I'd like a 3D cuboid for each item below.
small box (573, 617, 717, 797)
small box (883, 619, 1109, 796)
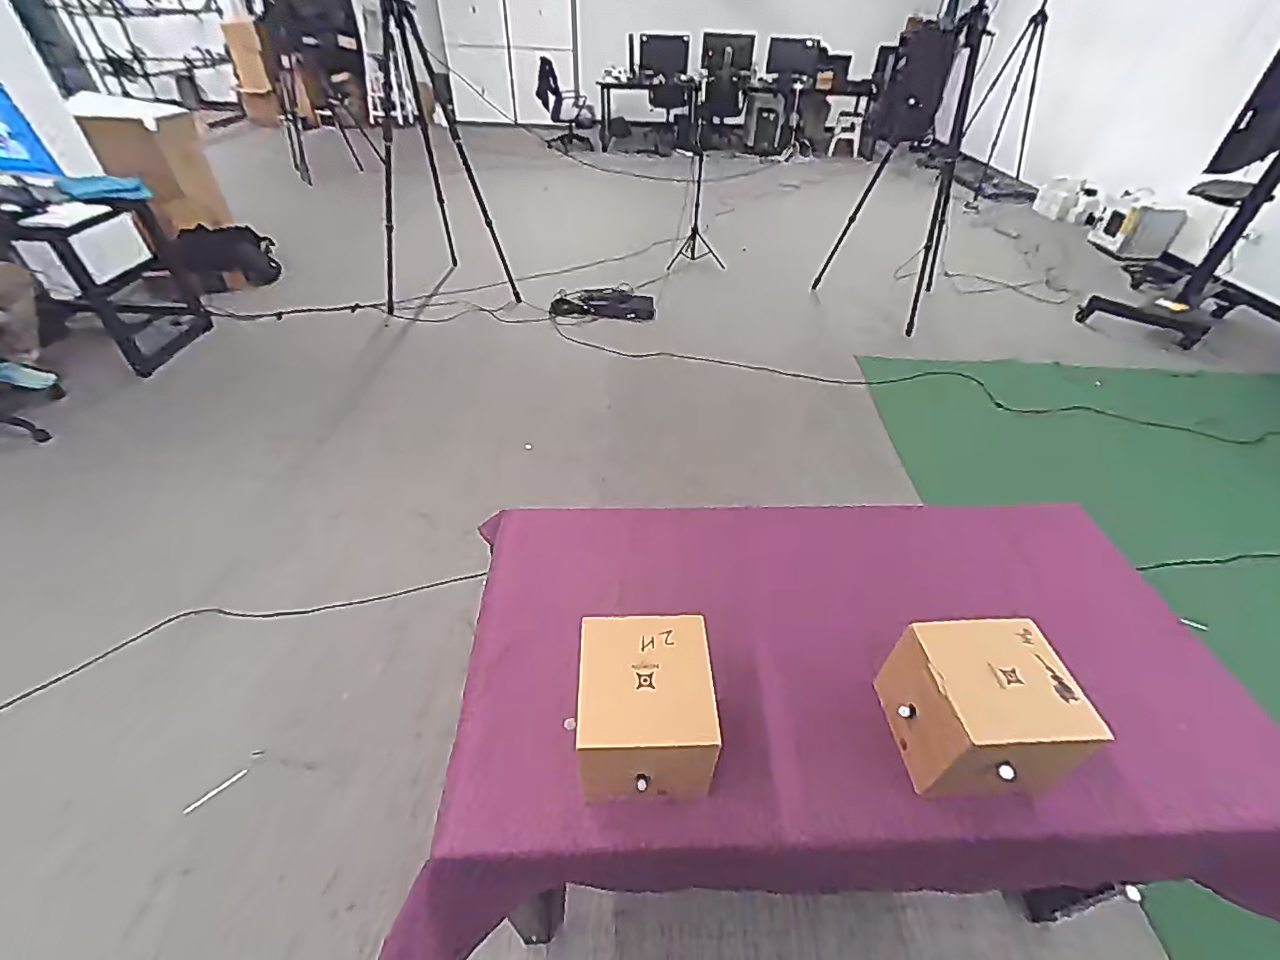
[{"bbox_3d":[0.004,0.303,0.719,0.168,0.176,0.179,0,41,-2],"label":"small box"},{"bbox_3d":[0.451,0.308,0.728,0.179,0.176,0.168,-1,41,-2],"label":"small box"}]
